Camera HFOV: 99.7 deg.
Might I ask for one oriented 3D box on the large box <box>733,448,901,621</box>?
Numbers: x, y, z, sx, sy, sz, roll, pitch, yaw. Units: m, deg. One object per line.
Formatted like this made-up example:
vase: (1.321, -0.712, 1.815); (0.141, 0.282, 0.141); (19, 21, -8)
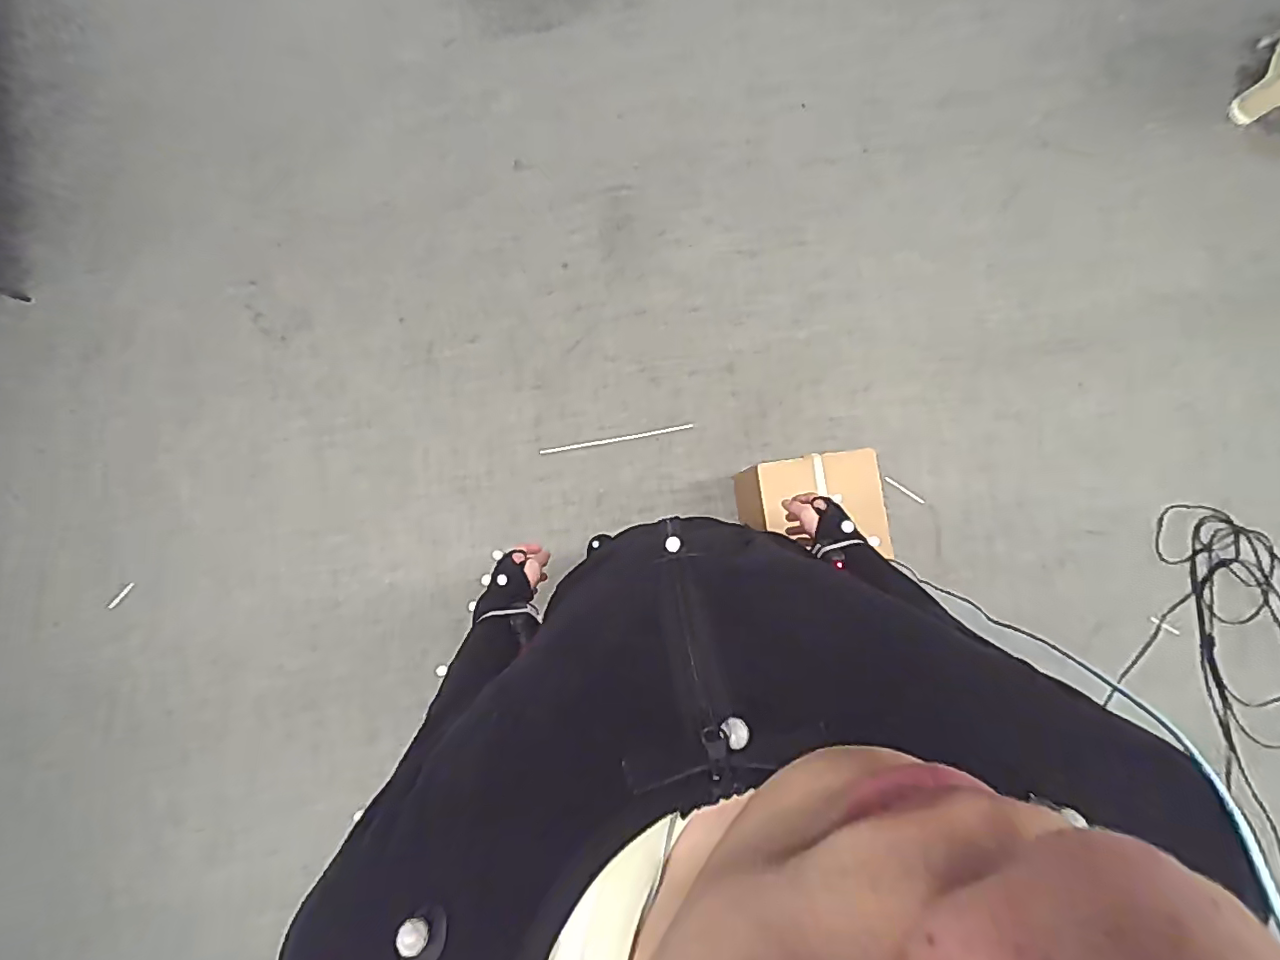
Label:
large box: (0.472, 0.147, 1.517); (0.320, 0.320, 0.408); (-8, 85, -2)
